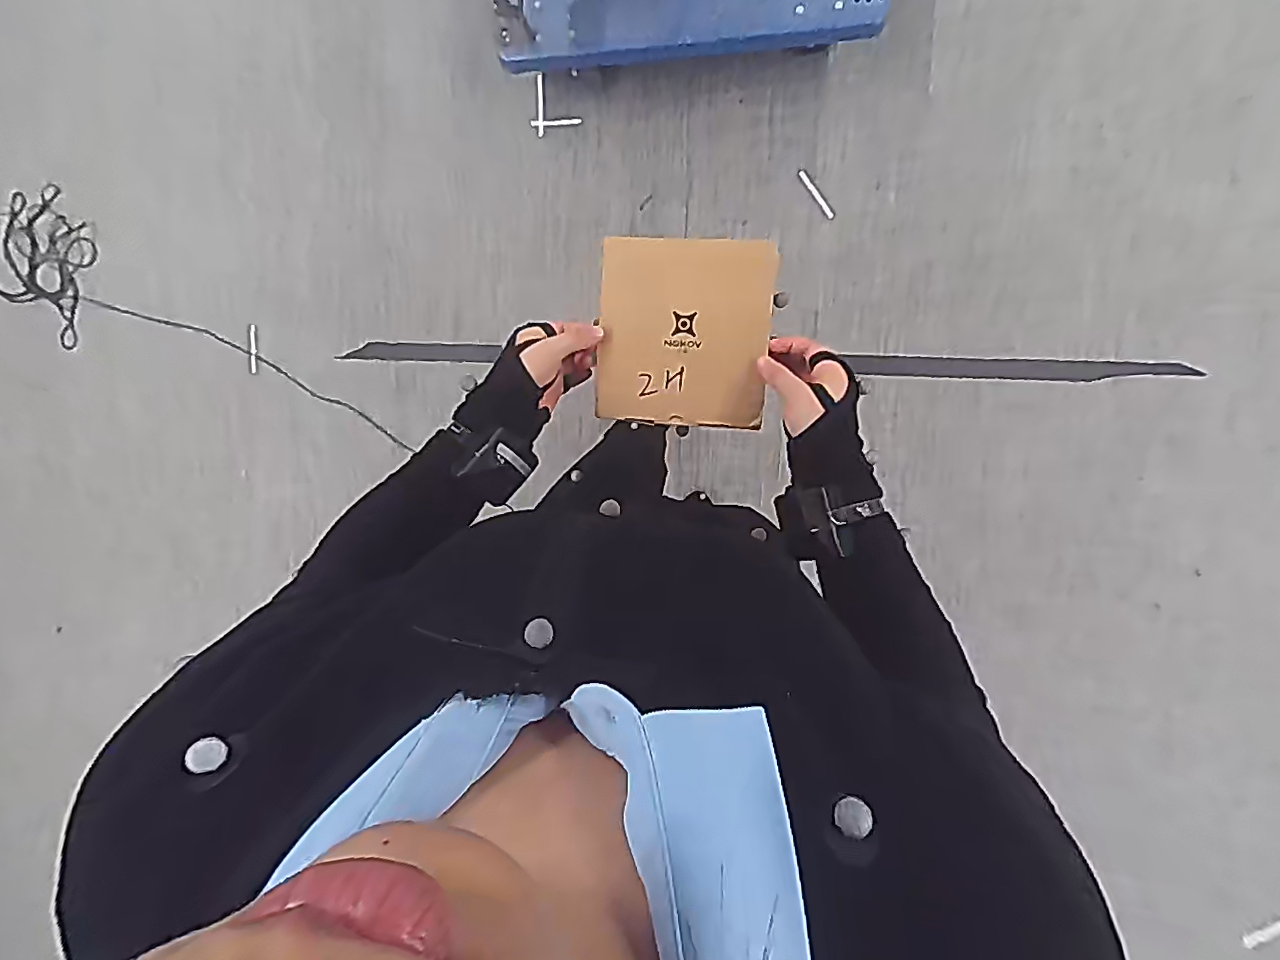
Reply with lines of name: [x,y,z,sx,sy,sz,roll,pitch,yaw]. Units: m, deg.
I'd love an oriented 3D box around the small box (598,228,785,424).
small box: [0.056,-0.154,0.589,0.168,0.176,0.179,5,98,8]
